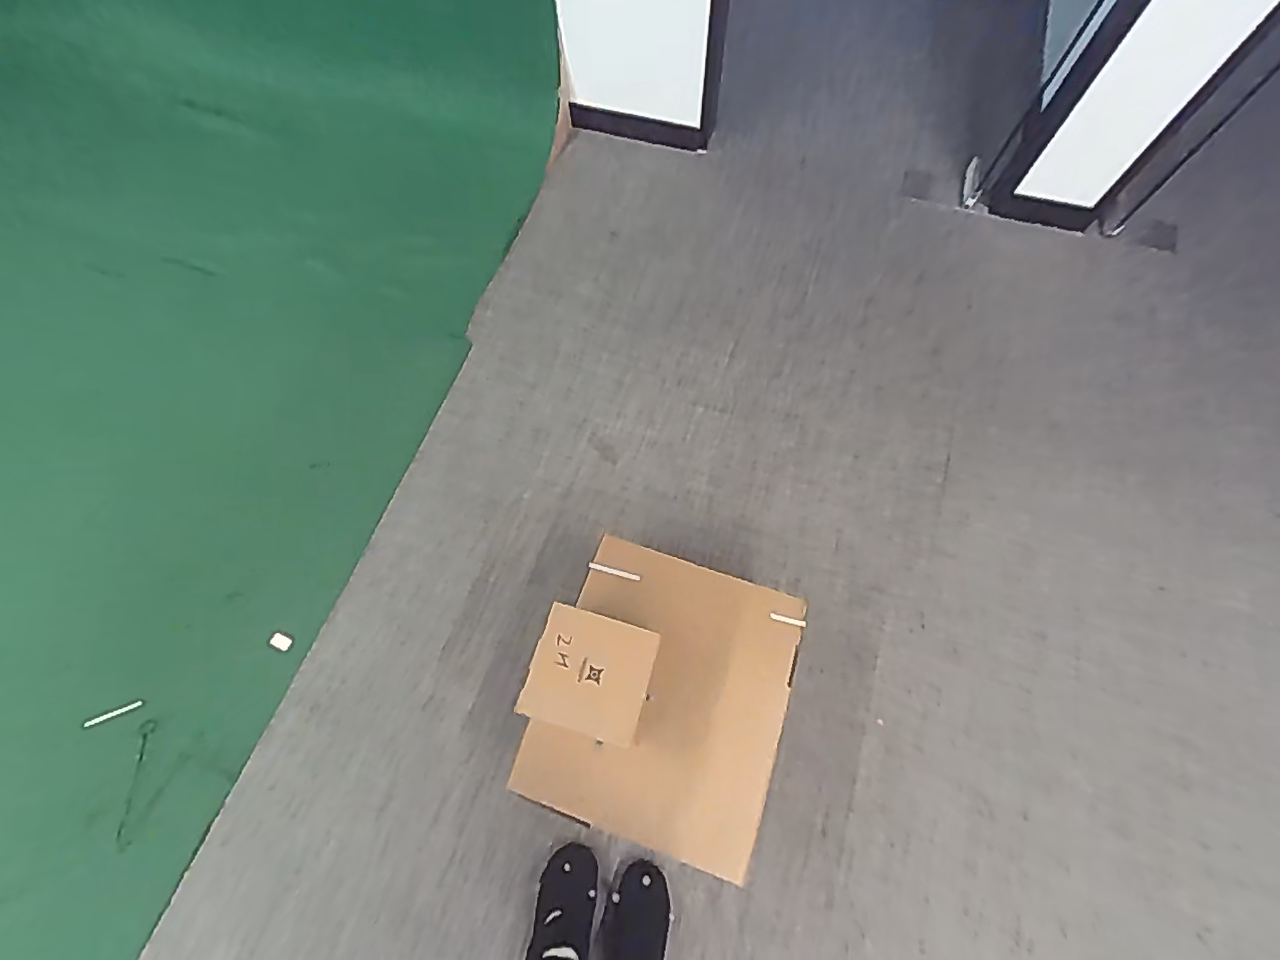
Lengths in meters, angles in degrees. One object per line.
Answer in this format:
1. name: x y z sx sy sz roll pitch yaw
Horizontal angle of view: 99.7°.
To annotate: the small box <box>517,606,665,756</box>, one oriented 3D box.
1. small box: -0.067 0.317 0.858 0.179 0.176 0.168 16 67 8
